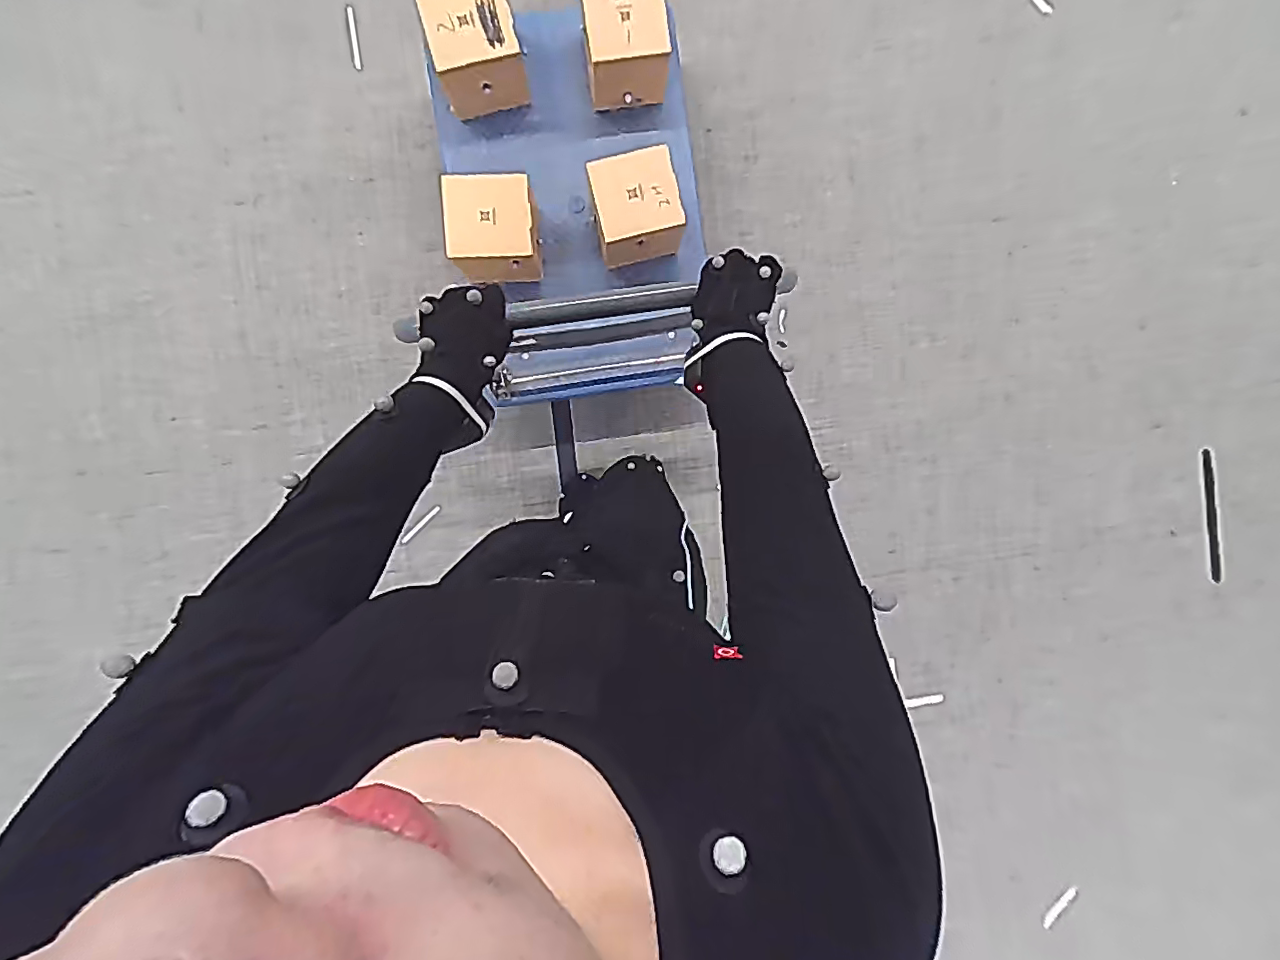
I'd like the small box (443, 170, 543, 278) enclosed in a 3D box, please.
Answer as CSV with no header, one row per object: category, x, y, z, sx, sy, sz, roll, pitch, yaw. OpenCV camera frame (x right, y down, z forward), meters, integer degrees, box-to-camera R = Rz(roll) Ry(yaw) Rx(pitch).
small box,-0.314,-0.550,1.182,0.179,0.176,0.168,-3,94,-4

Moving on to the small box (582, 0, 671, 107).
small box,-0.034,-0.953,1.168,0.168,0.176,0.179,-9,95,-2

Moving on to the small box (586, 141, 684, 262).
small box,-0.011,-0.602,1.192,0.179,0.176,0.168,-14,94,-1
